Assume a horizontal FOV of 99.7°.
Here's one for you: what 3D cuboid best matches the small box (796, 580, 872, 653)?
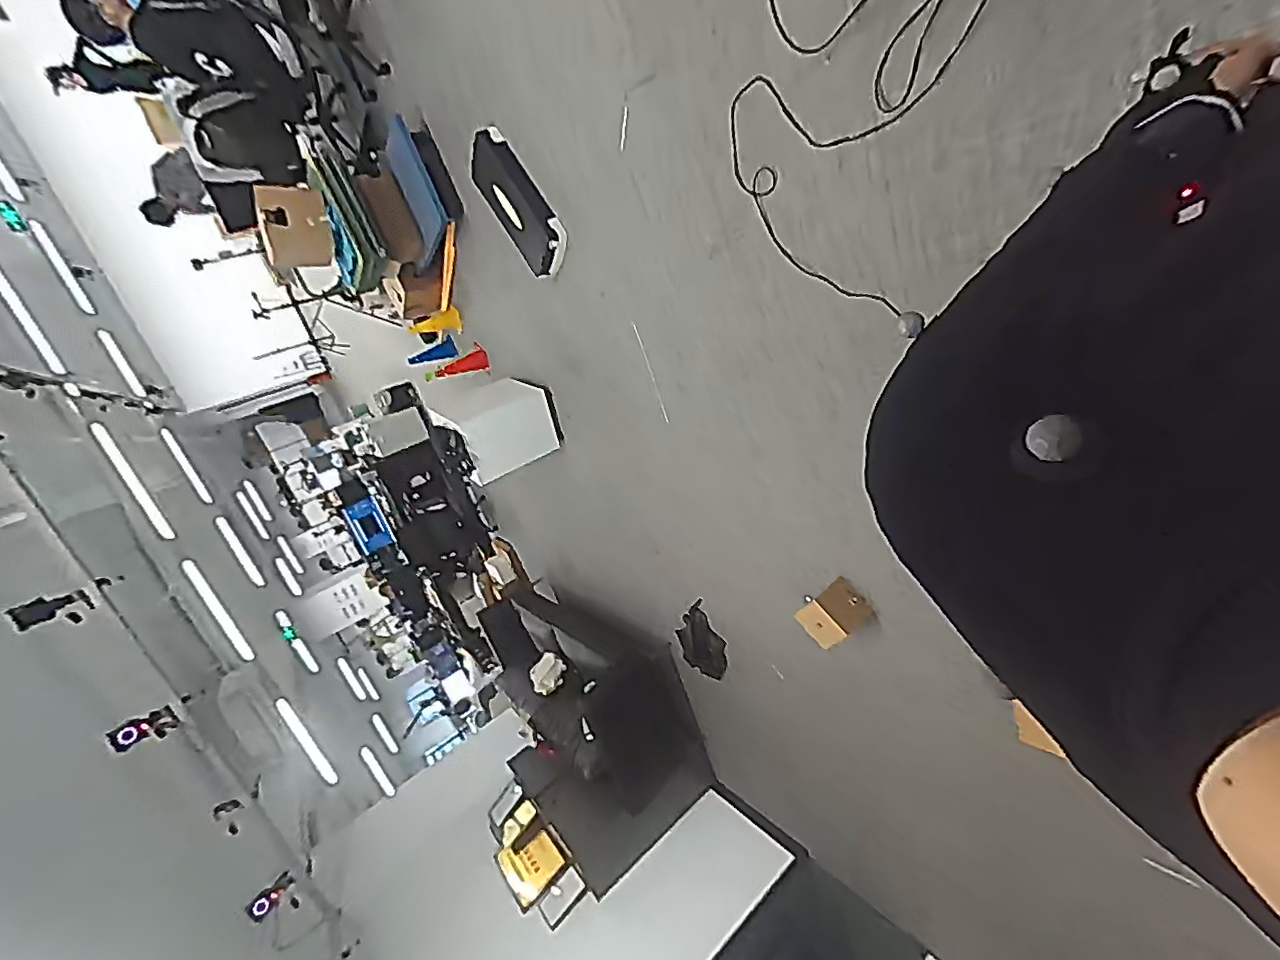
[{"bbox_3d":[0.722,0.504,2.005,0.168,0.176,0.179,48,149,20],"label":"small box"}]
